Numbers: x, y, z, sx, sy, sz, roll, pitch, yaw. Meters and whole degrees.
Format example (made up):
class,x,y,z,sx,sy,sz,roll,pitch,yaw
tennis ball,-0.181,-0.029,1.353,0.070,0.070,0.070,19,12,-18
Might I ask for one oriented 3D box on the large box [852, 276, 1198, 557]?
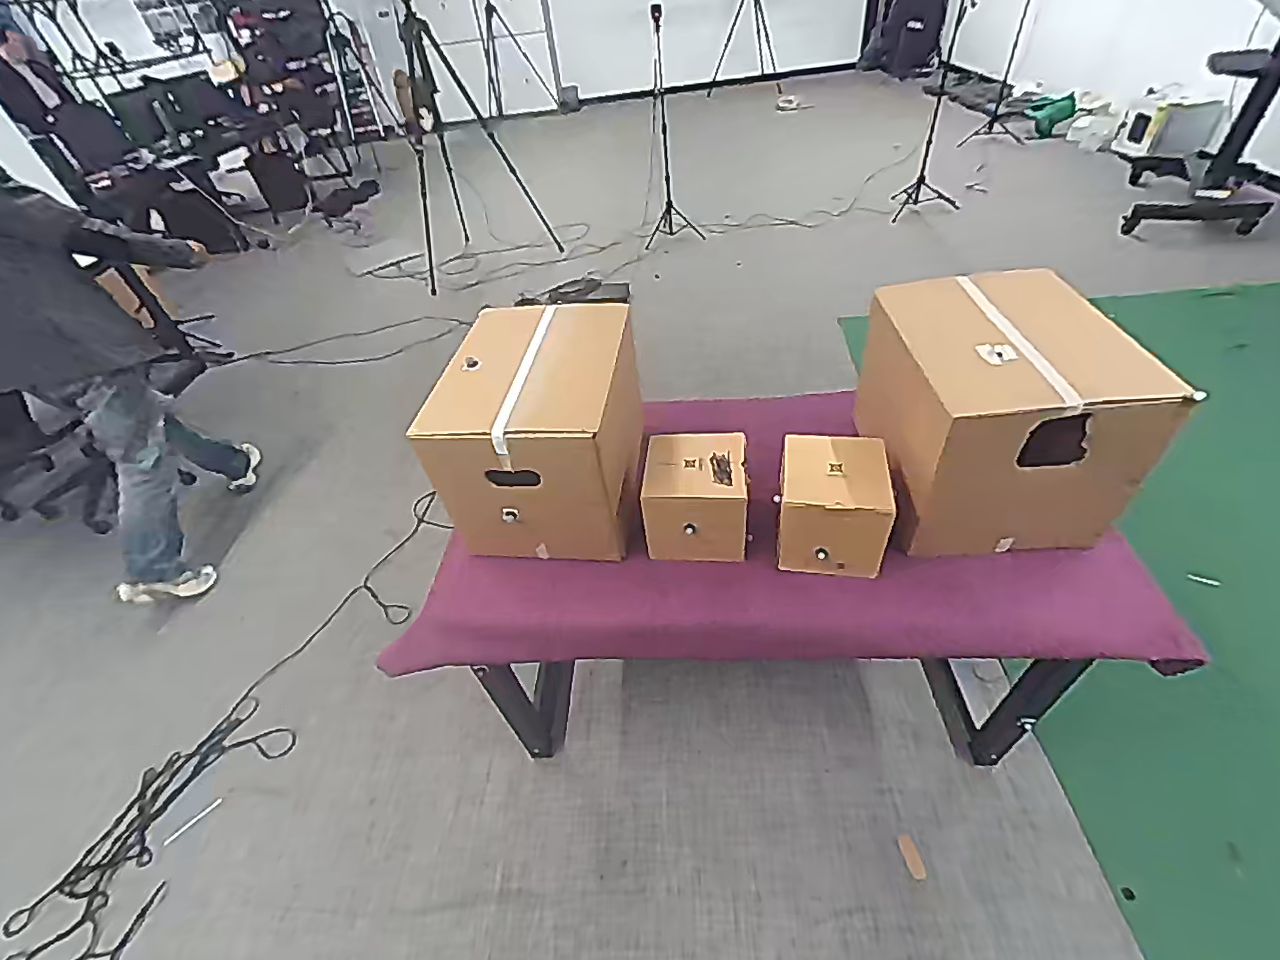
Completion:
class,x,y,z,sx,sy,sz,roll,pitch,yaw
large box,0.605,-0.119,0.967,0.320,0.320,0.408,-5,44,7
